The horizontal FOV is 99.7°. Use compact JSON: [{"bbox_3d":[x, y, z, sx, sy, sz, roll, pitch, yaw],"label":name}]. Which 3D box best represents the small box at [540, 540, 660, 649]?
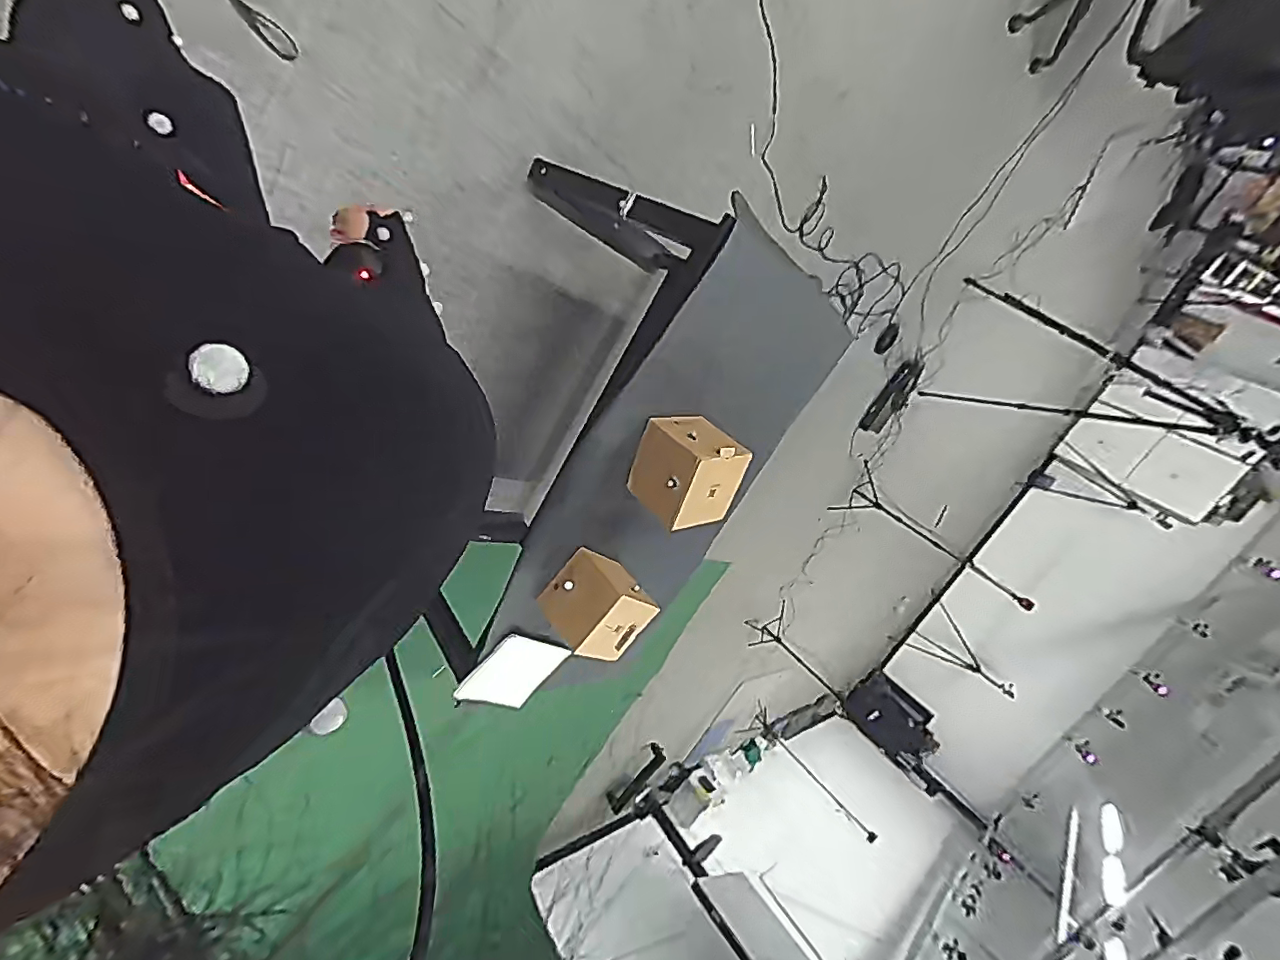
[{"bbox_3d":[-0.093,0.260,1.238,0.168,0.176,0.179,-50,143,3],"label":"small box"}]

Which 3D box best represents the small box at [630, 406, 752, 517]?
[{"bbox_3d":[0.102,-0.048,1.159,0.168,0.176,0.179,-7,129,-40],"label":"small box"}]
